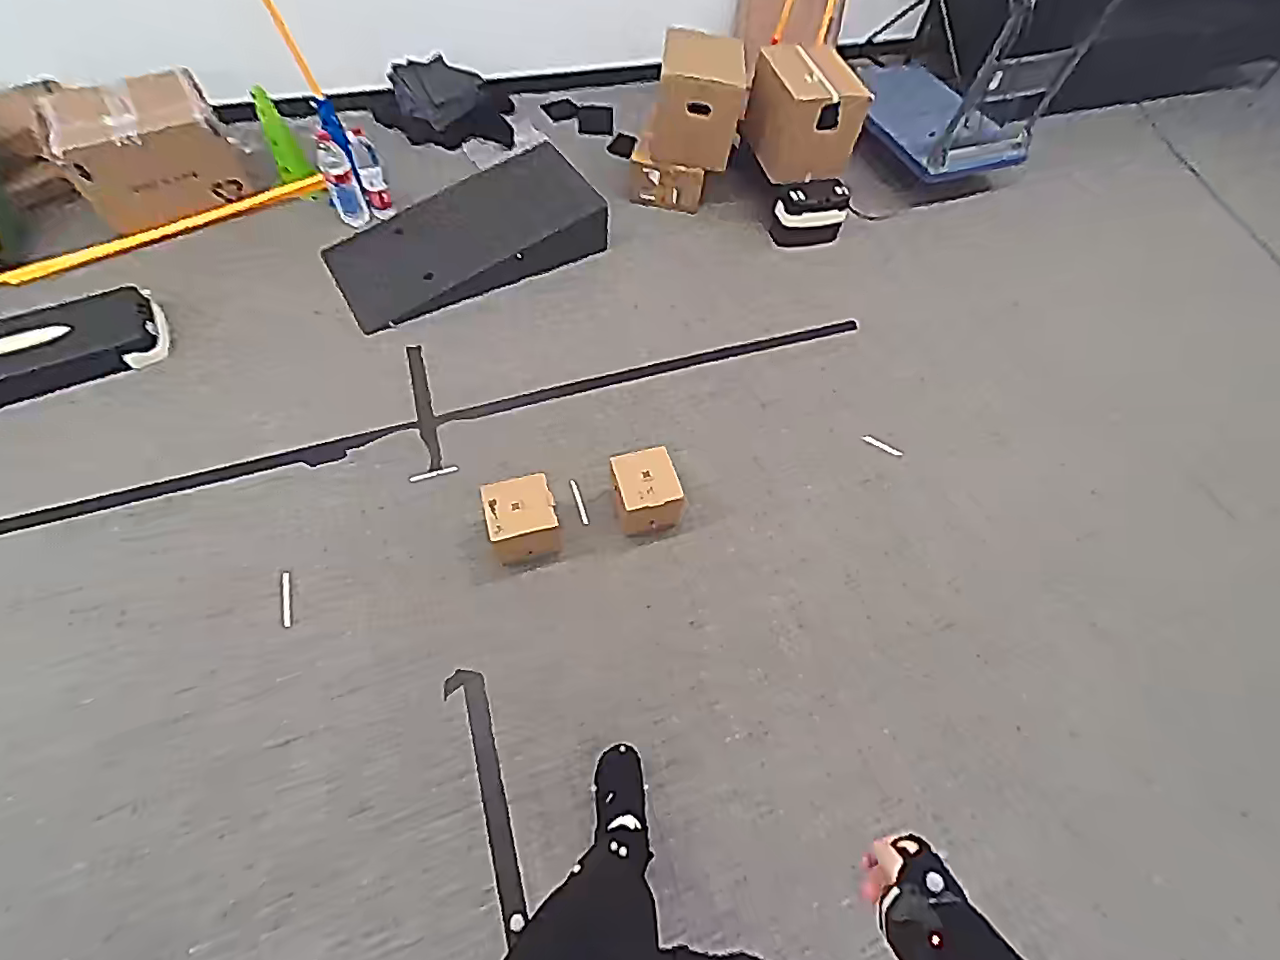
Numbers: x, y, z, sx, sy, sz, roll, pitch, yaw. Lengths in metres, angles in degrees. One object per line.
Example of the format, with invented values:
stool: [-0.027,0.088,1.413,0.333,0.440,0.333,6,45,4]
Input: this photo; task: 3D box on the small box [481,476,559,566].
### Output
small box: [-0.322,0.114,1.464,0.179,0.176,0.168,-13,62,-13]

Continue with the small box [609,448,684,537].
small box: [0.010,0.037,1.537,0.168,0.176,0.179,-13,62,-12]
